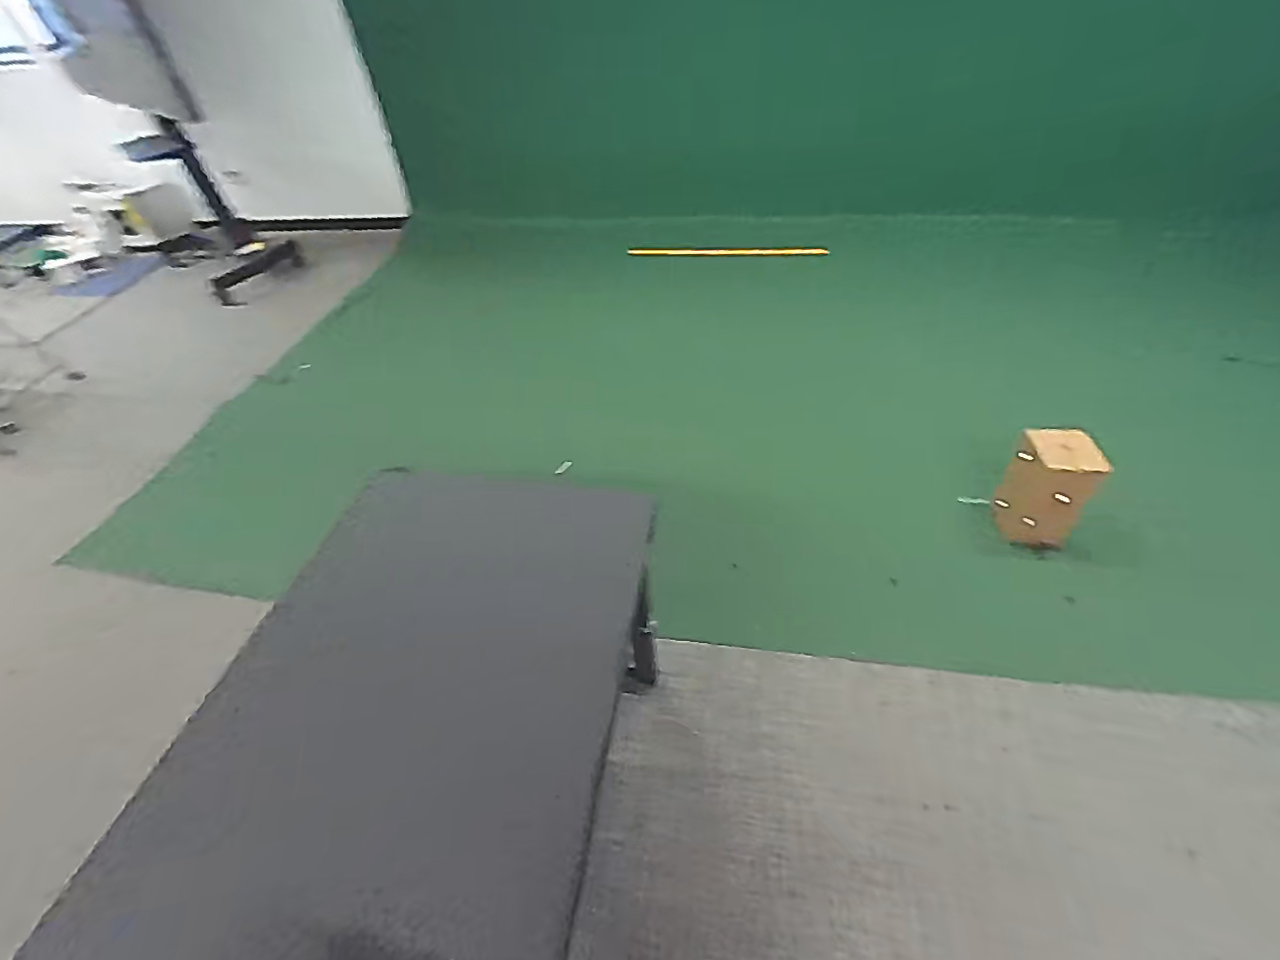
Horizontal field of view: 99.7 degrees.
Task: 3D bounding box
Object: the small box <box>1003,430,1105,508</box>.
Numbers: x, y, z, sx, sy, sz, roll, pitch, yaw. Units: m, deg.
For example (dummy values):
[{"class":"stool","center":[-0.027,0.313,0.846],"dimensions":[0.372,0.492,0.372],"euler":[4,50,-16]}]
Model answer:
[{"class":"small box","center":[1.258,-0.035,1.663],"dimensions":[0.168,0.176,0.179],"euler":[1,46,8]}]
